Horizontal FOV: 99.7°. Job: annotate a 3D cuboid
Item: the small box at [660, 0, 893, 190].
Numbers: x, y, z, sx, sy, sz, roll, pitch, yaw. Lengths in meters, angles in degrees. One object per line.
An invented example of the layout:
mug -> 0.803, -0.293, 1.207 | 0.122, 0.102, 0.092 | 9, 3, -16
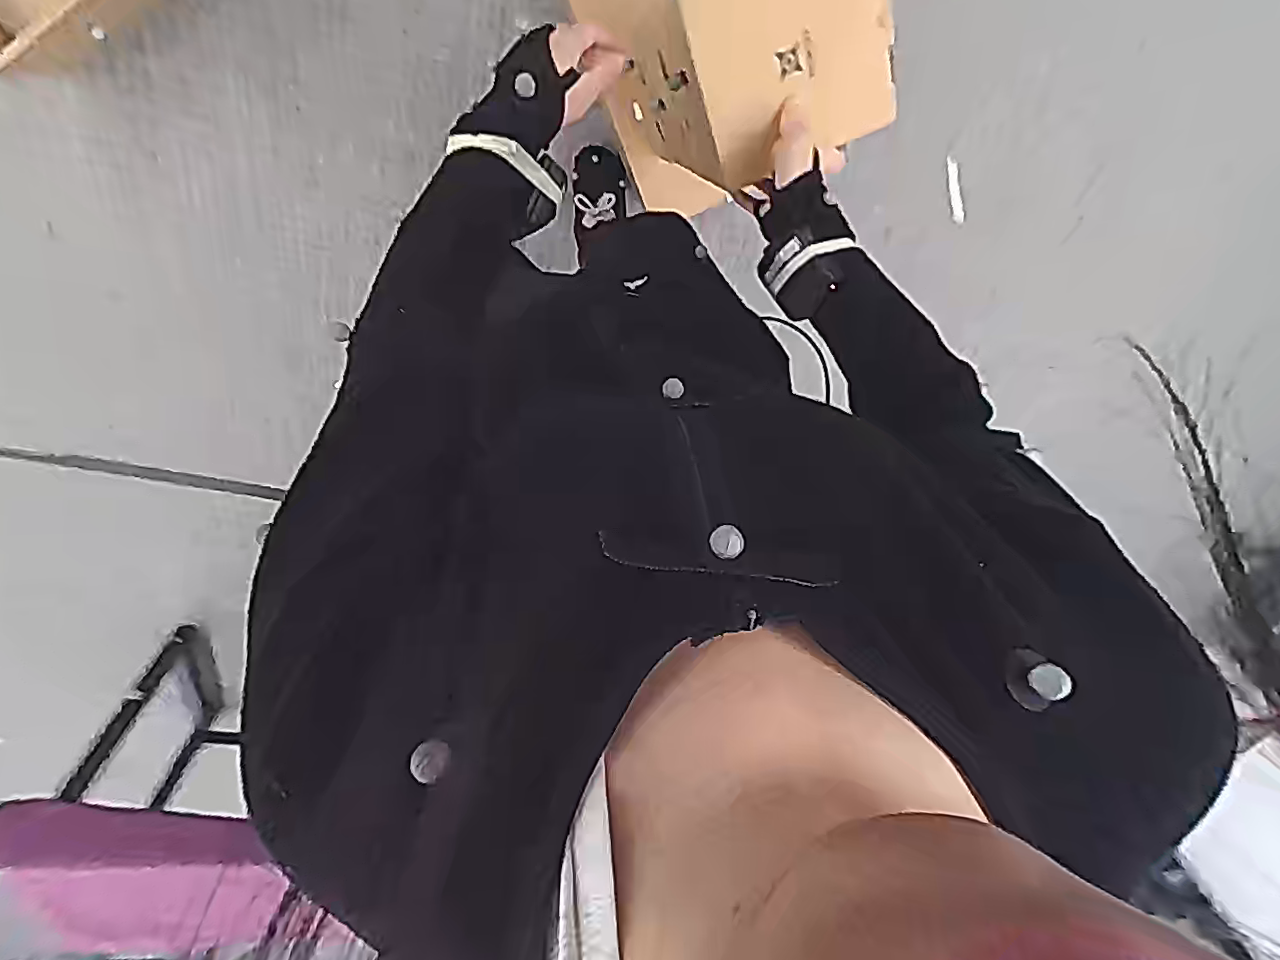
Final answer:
small box -> 0.127, -0.423, 0.553 | 0.179, 0.176, 0.168 | -22, 125, 6

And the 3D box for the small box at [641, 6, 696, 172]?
small box -> 0.108, -0.518, 0.683 | 0.179, 0.176, 0.168 | -22, 125, 8
